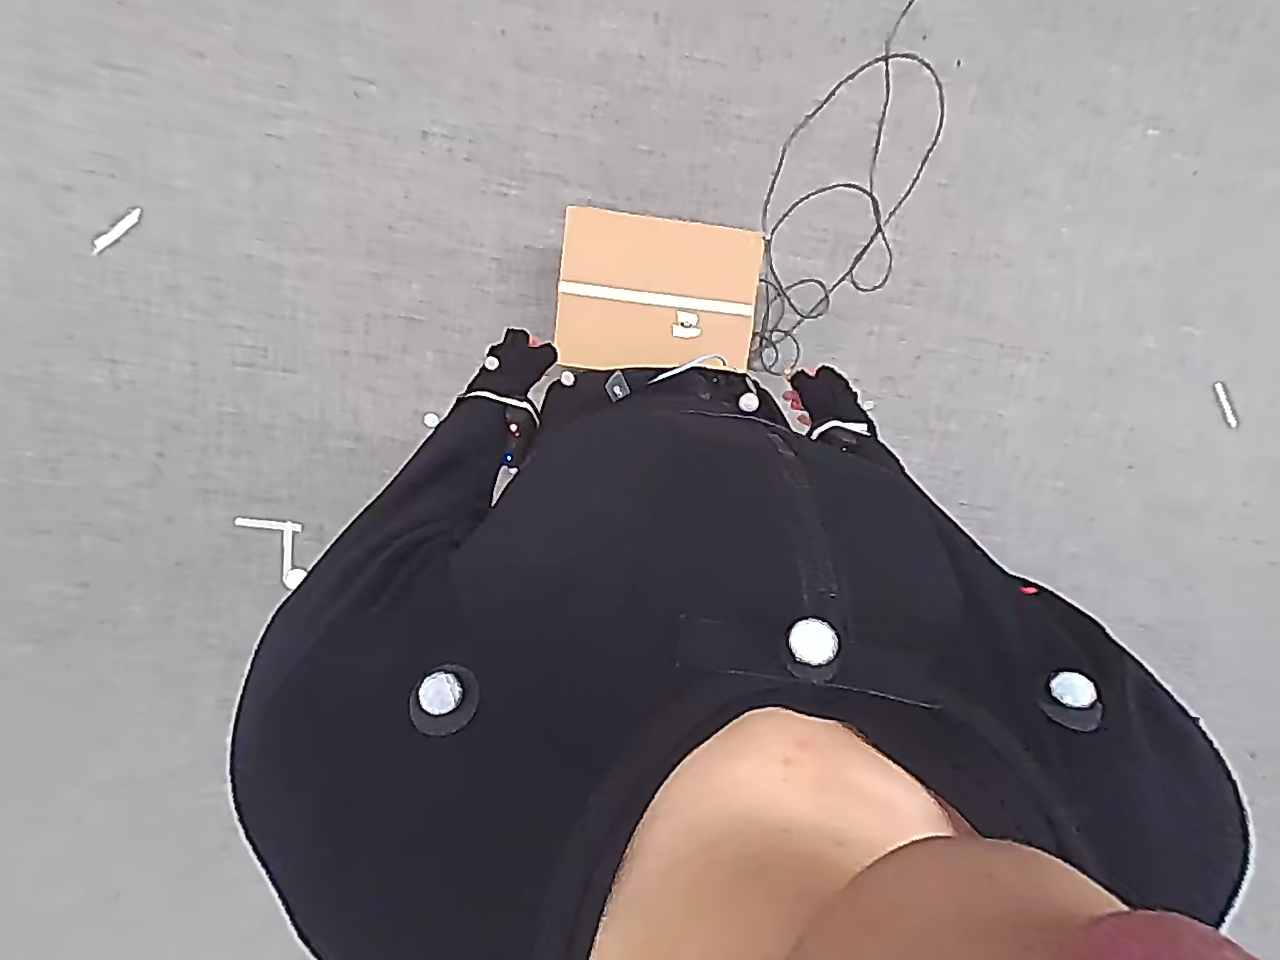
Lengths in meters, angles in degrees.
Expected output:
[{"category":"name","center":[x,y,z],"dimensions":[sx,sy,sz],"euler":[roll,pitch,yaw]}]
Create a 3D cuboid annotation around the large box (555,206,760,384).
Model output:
[{"category":"large box","center":[0.026,-0.403,1.262],"dimensions":[0.408,0.320,0.320],"euler":[7,100,-4]}]
